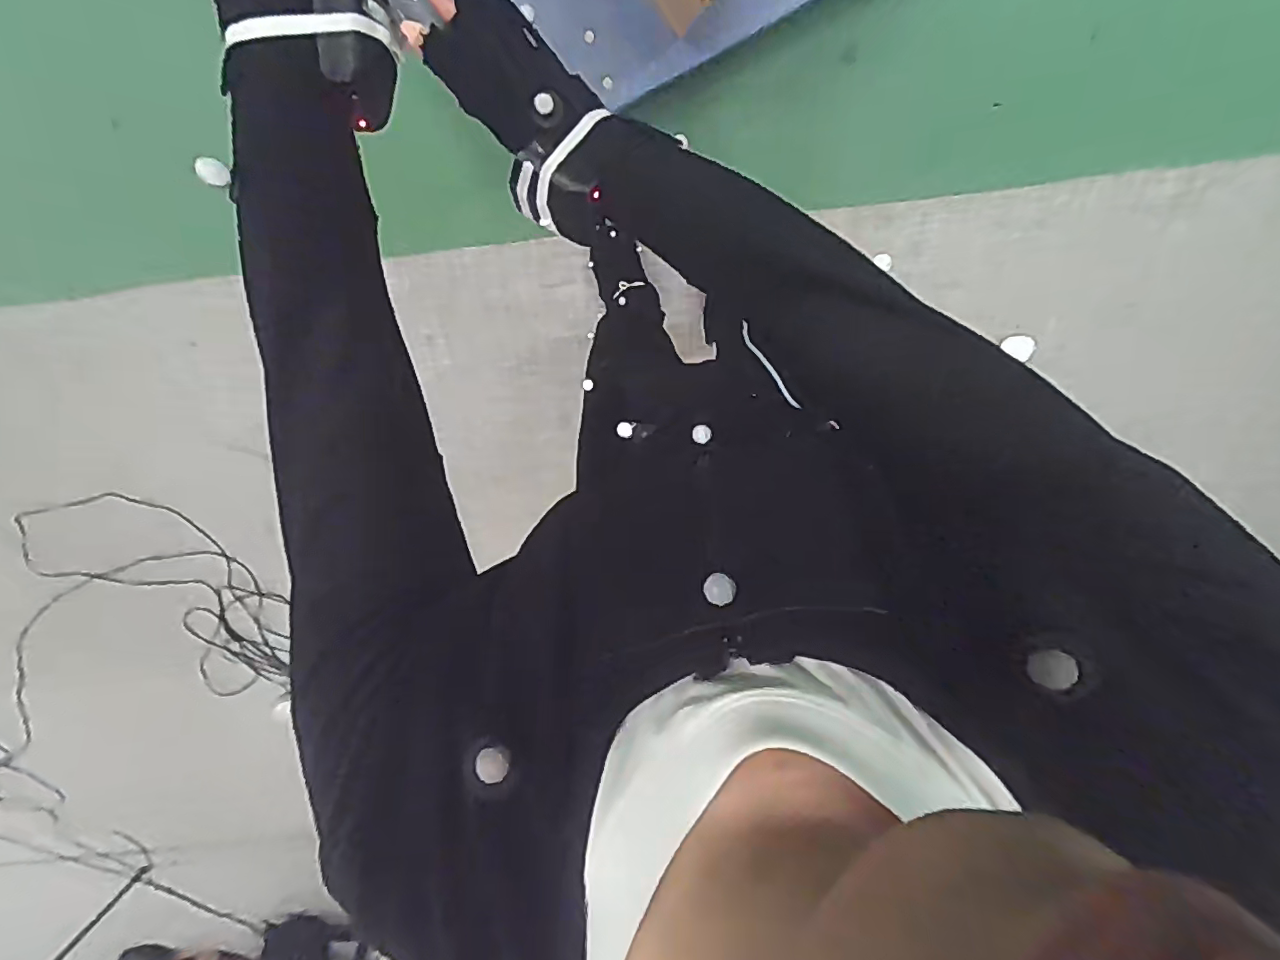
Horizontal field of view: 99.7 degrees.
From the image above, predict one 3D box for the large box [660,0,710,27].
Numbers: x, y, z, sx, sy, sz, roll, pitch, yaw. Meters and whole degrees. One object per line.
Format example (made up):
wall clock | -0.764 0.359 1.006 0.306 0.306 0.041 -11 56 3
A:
large box | 0.038 -0.885 0.660 0.408 0.320 0.320 39 113 -23
